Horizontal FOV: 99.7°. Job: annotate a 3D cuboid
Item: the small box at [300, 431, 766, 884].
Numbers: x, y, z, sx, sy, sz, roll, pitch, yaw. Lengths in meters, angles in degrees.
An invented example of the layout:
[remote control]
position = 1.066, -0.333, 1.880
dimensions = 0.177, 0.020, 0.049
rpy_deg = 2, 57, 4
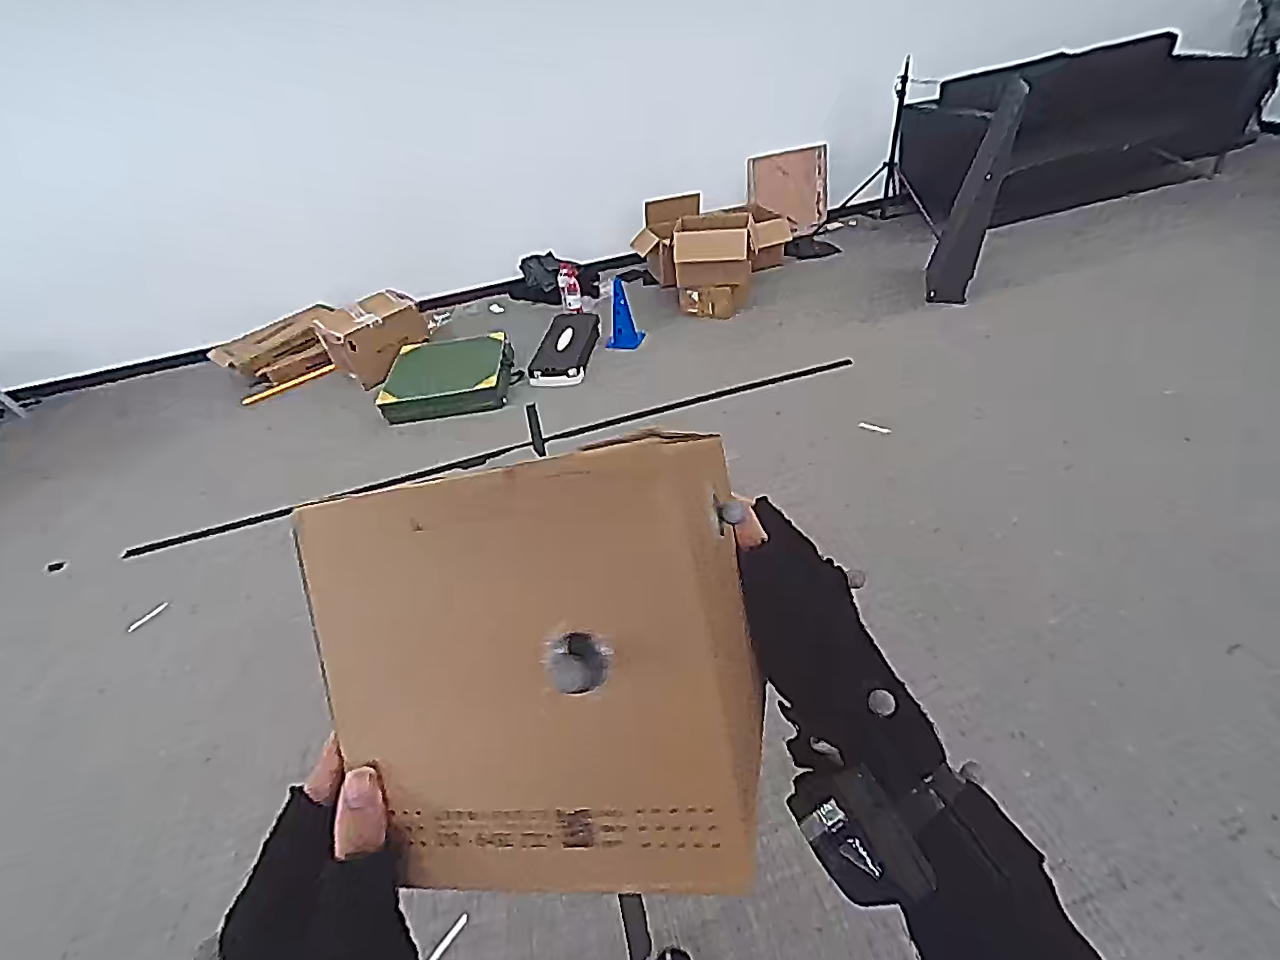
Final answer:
[small box]
position = -0.033, 0.075, 0.293
dimensions = 0.168, 0.176, 0.179
rpy_deg = -10, 2, 19
